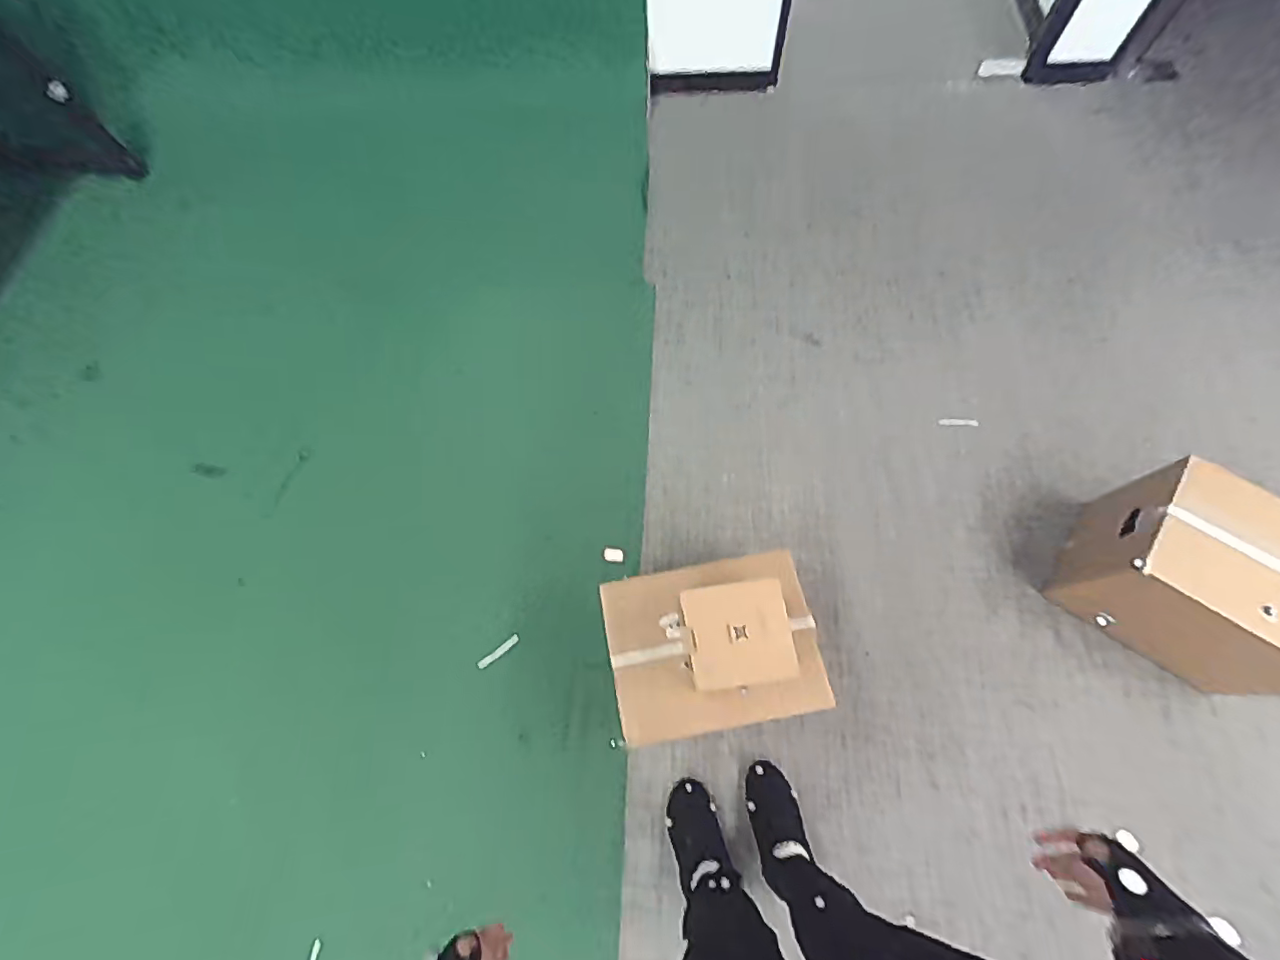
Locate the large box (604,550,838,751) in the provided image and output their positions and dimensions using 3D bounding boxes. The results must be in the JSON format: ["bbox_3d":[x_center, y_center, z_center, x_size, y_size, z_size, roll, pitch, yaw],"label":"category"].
[{"bbox_3d":[0.159,0.376,1.195,0.408,0.320,0.320,-12,67,0],"label":"large box"}]

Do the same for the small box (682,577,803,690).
[{"bbox_3d":[0.172,0.280,0.967,0.179,0.176,0.168,-8,70,0],"label":"small box"}]
